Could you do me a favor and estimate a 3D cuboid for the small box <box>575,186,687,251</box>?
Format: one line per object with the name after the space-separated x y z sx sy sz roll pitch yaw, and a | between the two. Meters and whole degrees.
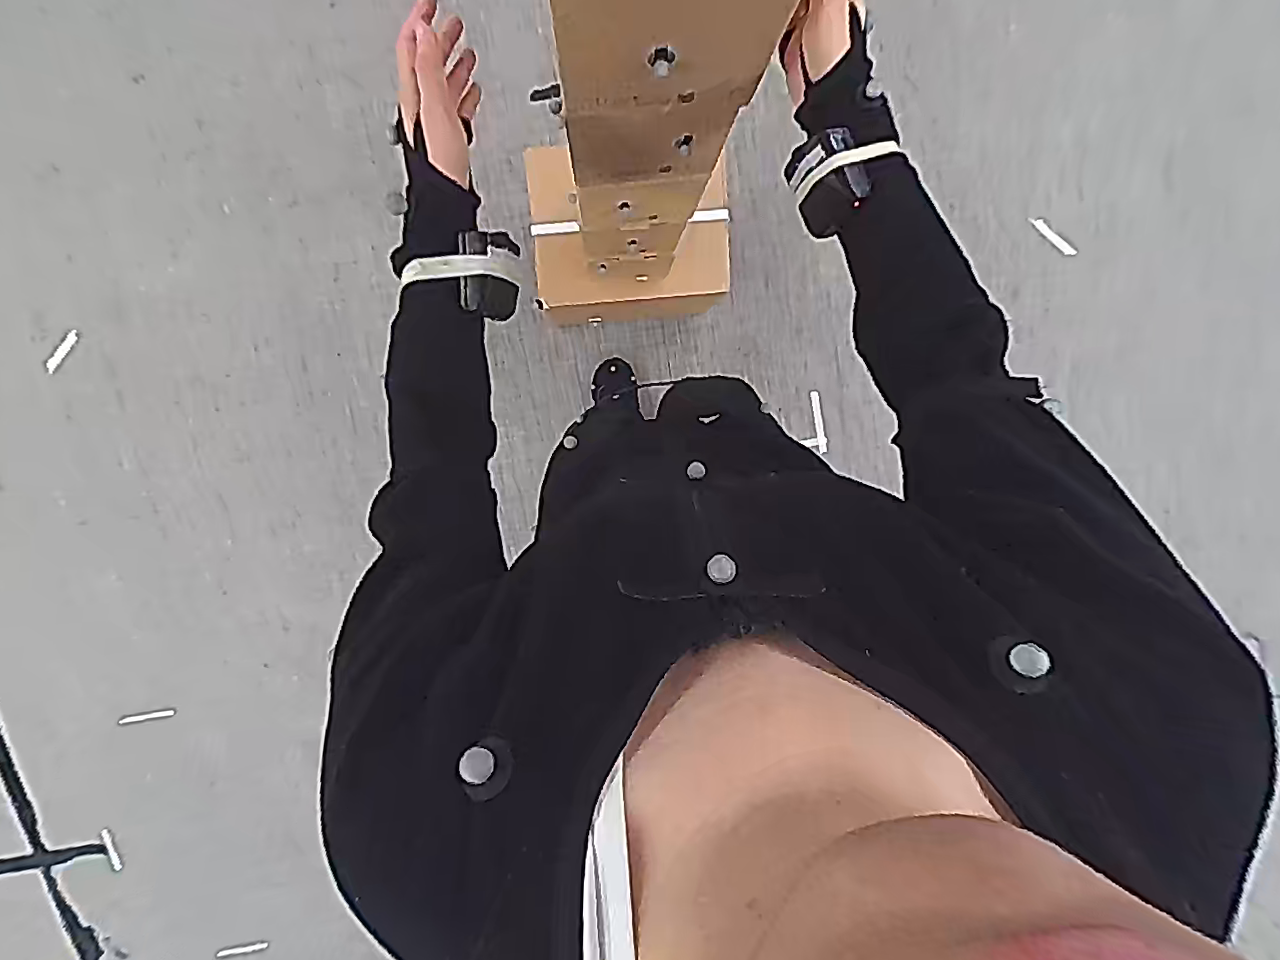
-0.019 -0.476 0.867 0.168 0.176 0.179 -5 100 -3 | small box

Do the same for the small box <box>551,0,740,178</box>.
0.001 -0.429 0.547 0.168 0.176 0.179 -8 98 -3 | small box

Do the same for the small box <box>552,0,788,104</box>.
0.016 -0.399 0.385 0.168 0.176 0.179 -6 98 -3 | small box

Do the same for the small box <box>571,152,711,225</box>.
-0.007 -0.449 0.707 0.168 0.176 0.179 -7 99 -2 | small box
